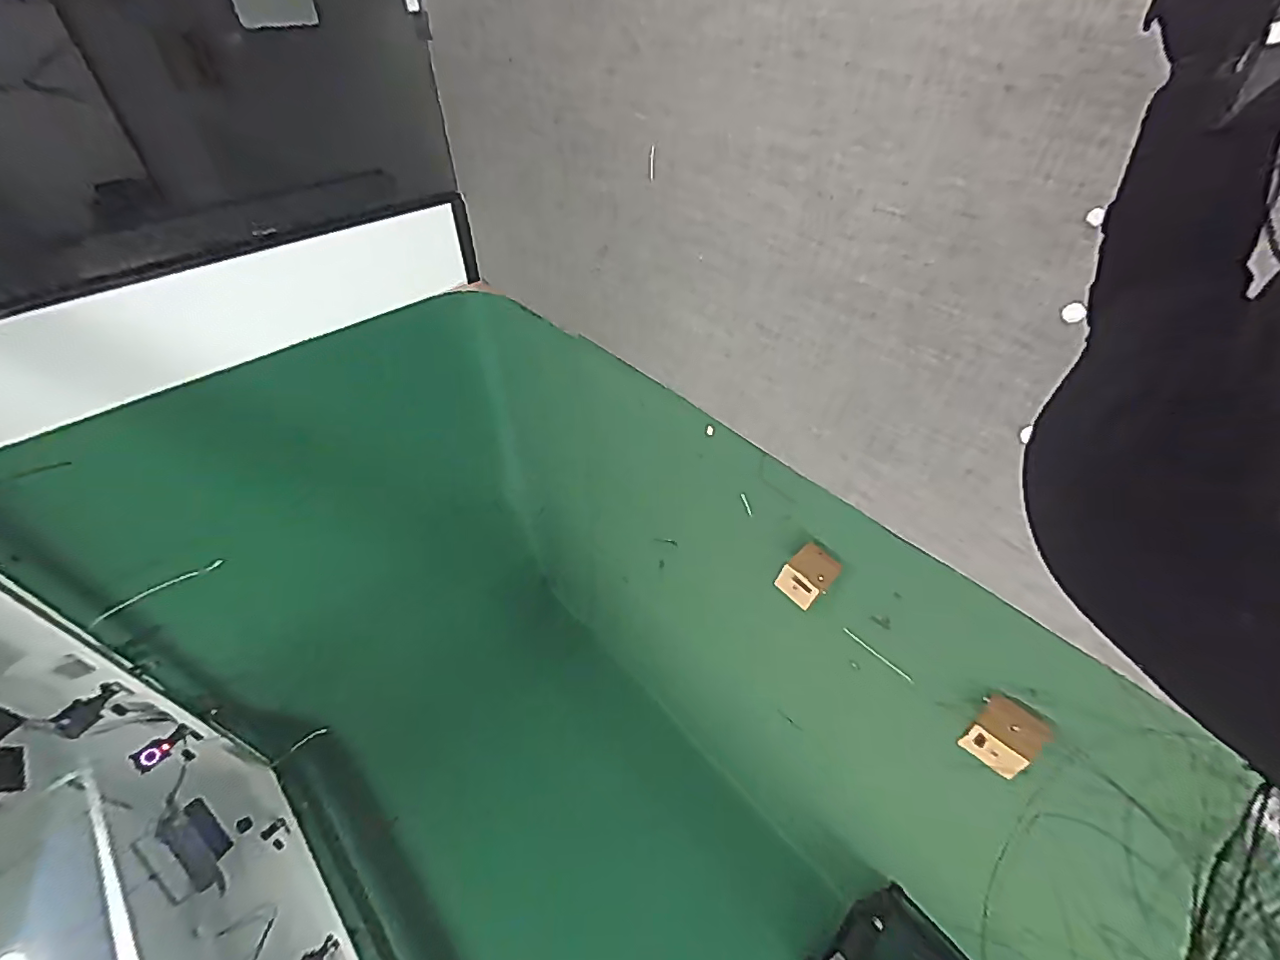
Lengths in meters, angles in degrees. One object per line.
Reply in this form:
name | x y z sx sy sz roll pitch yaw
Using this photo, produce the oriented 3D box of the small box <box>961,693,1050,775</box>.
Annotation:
small box | 1.264 0.869 1.871 0.179 0.176 0.168 34 144 31
